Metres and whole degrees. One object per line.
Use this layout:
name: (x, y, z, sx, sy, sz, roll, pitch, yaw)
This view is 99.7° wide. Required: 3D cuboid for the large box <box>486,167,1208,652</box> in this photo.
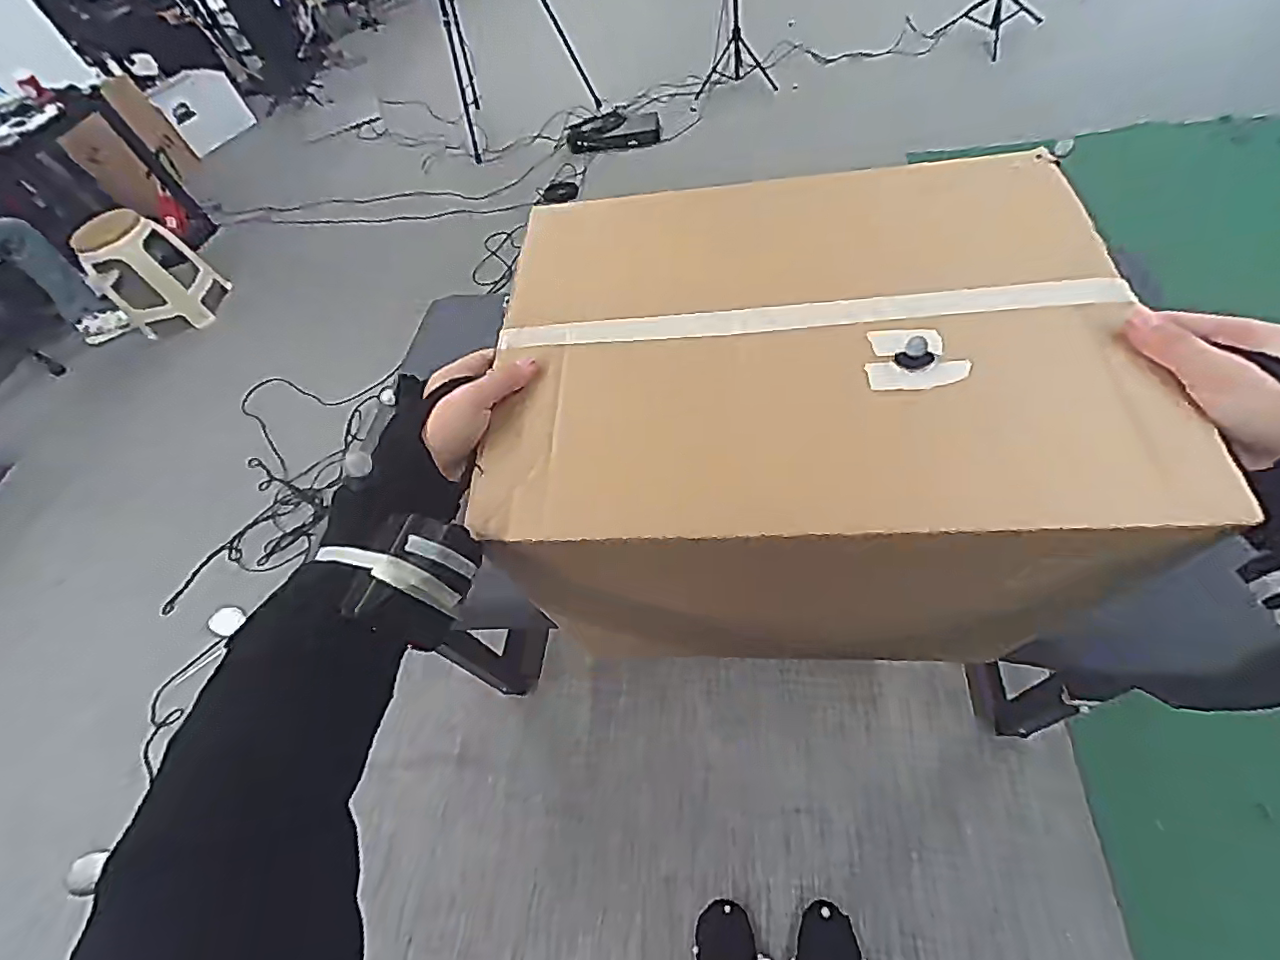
large box: (0.122, -0.033, 0.505, 0.408, 0.320, 0.320, -2, 60, 8)
